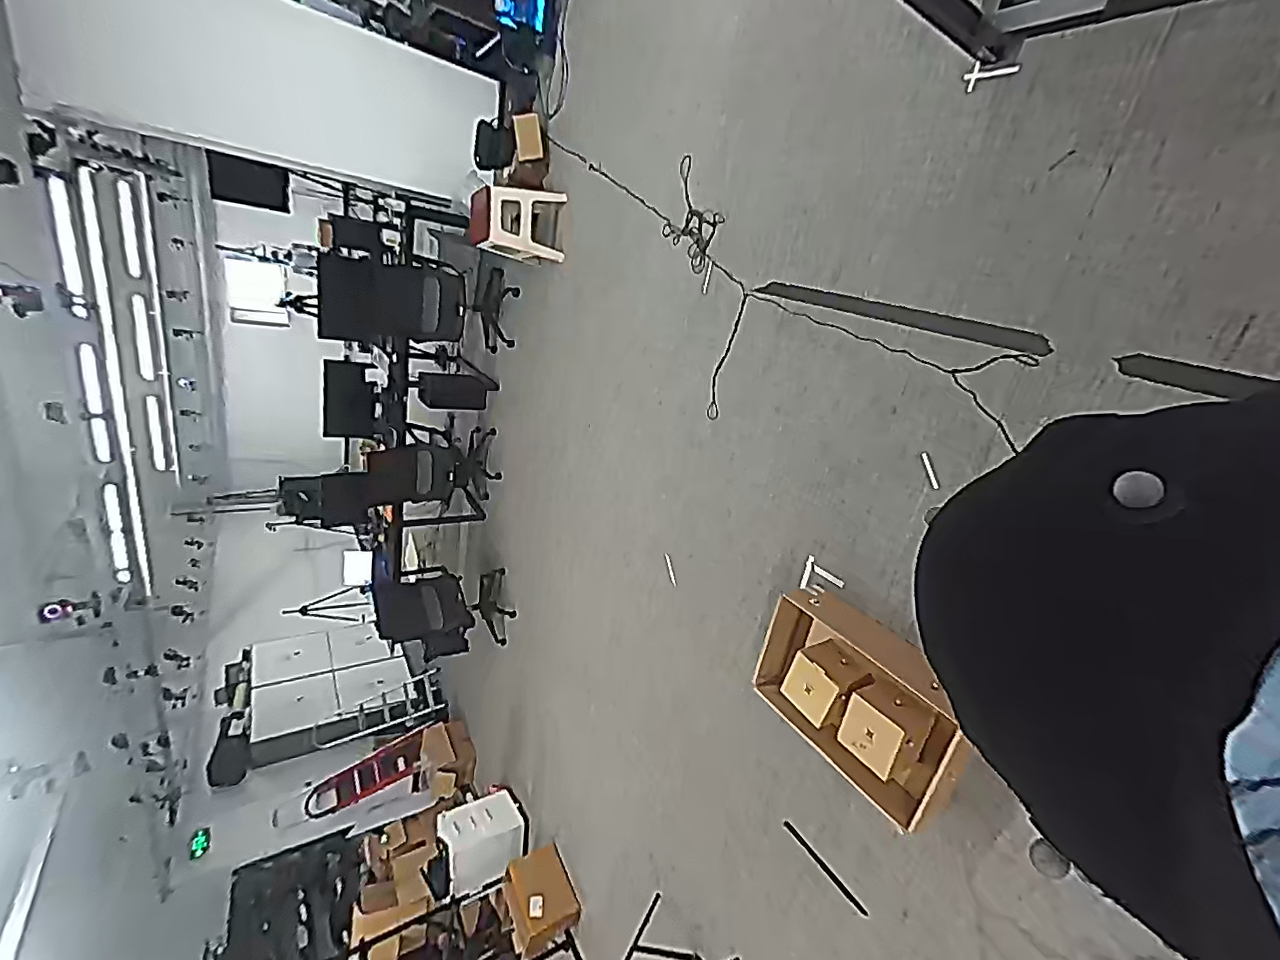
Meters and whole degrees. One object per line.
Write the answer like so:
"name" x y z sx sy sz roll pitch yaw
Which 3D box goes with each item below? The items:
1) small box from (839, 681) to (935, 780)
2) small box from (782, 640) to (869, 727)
"small box" 0.709 0.705 1.546 0.168 0.176 0.179 34 120 51
"small box" 0.591 0.640 1.717 0.168 0.176 0.179 41 125 45
